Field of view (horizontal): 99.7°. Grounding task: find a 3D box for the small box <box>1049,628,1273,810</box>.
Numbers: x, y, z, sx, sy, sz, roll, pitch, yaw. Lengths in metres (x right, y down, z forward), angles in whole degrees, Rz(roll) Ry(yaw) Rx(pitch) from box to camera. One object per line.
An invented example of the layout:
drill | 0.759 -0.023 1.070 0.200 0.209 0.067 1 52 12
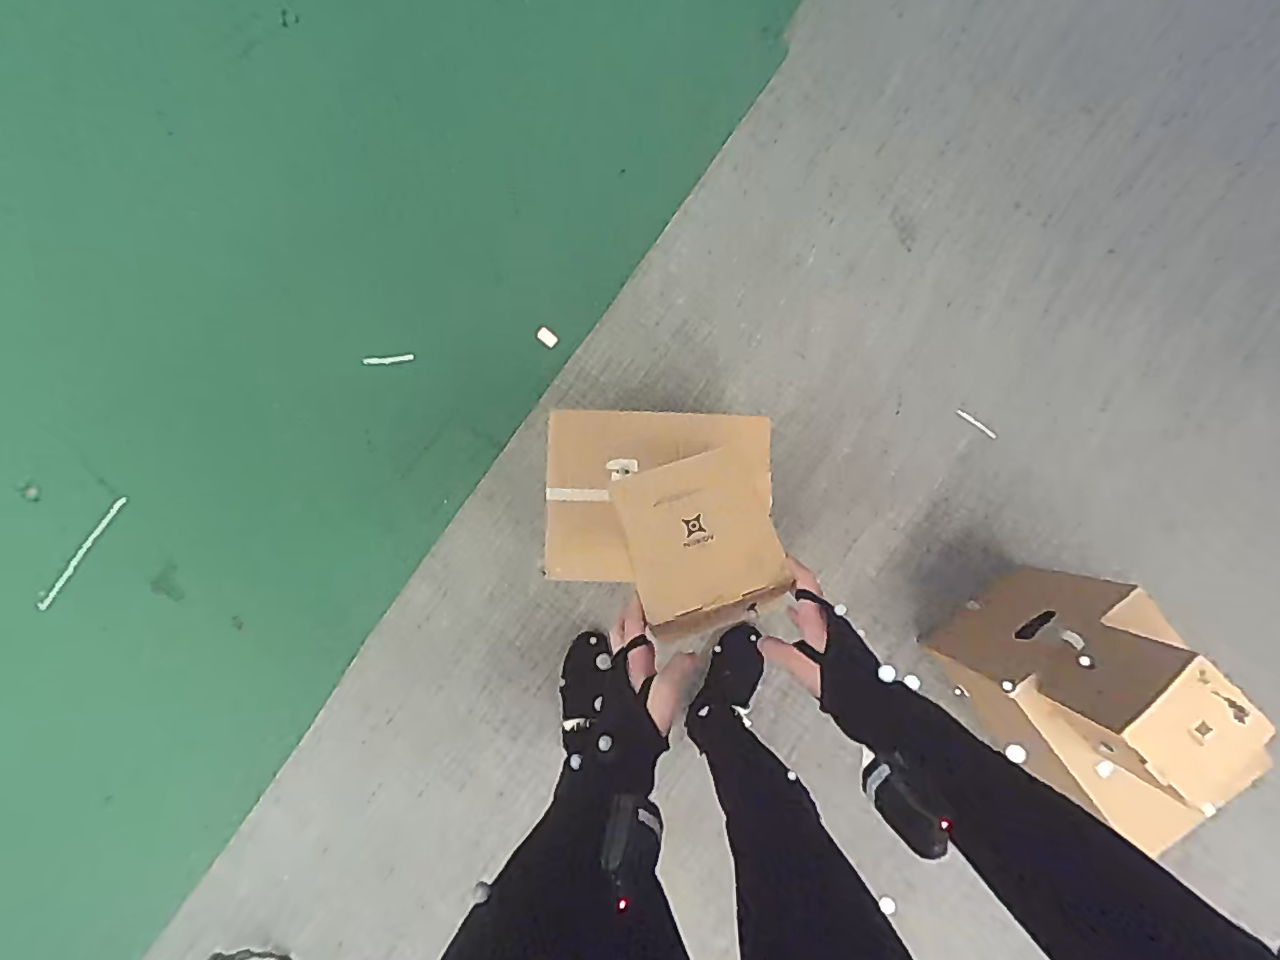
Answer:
small box | 0.824 0.375 0.883 0.179 0.176 0.168 -45 90 0

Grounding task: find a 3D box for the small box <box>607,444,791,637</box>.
small box | 0.070 0.086 0.671 0.168 0.176 0.179 -17 65 -1

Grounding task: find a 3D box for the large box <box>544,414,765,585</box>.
large box | 0.030 0.040 1.126 0.408 0.320 0.320 2 87 0
